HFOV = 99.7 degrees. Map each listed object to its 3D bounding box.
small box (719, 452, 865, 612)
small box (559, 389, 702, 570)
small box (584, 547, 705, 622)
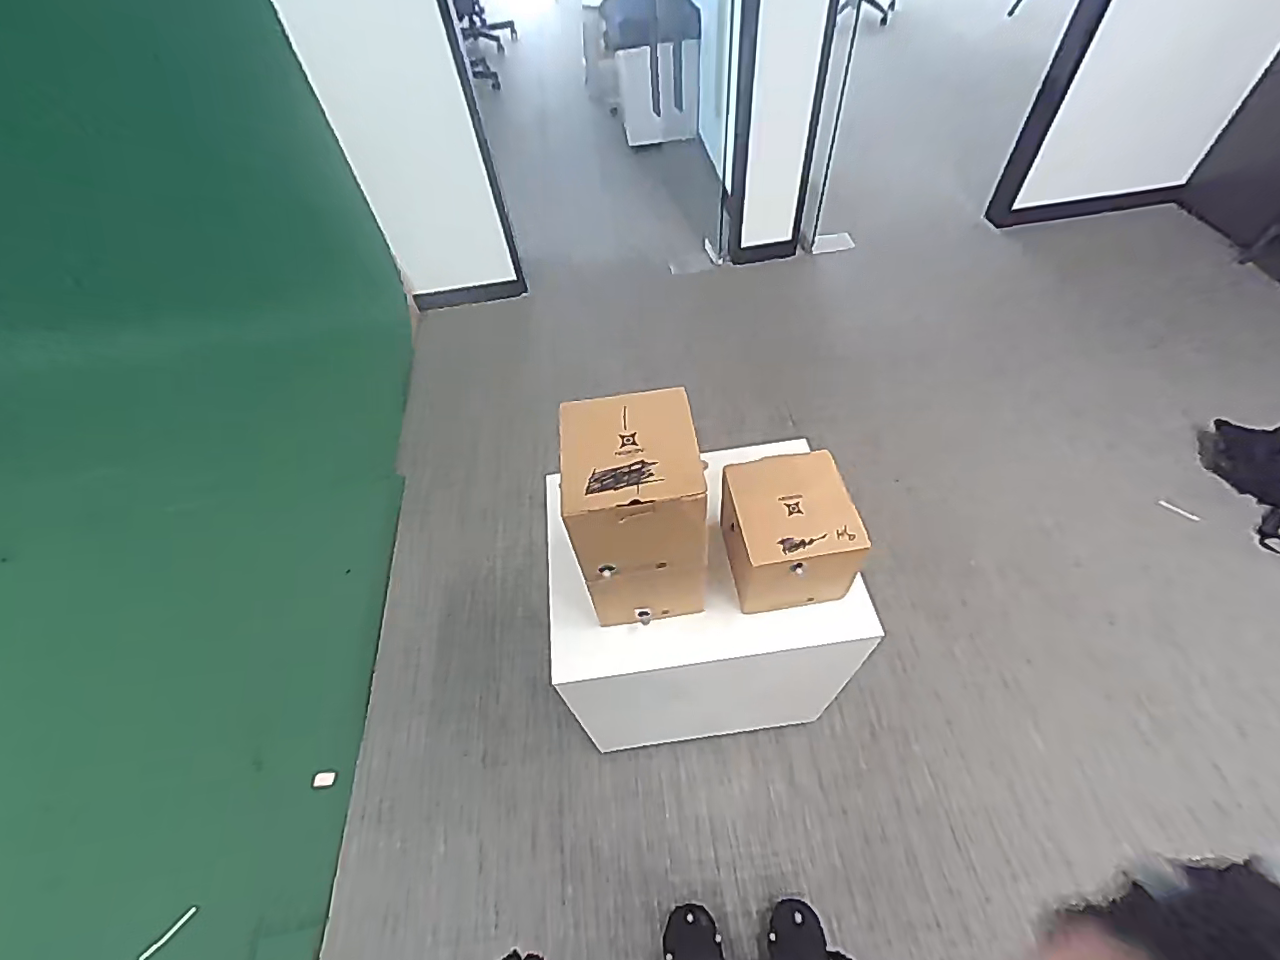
[{"bbox_3d":[0.221,0.083,0.843,0.168,0.176,0.179,-8,52,-1],"label":"small box"},{"bbox_3d":[-0.010,0.007,0.719,0.168,0.176,0.179,-7,52,1],"label":"small box"},{"bbox_3d":[0.000,0.097,0.837,0.168,0.176,0.179,-10,54,-1],"label":"small box"}]
